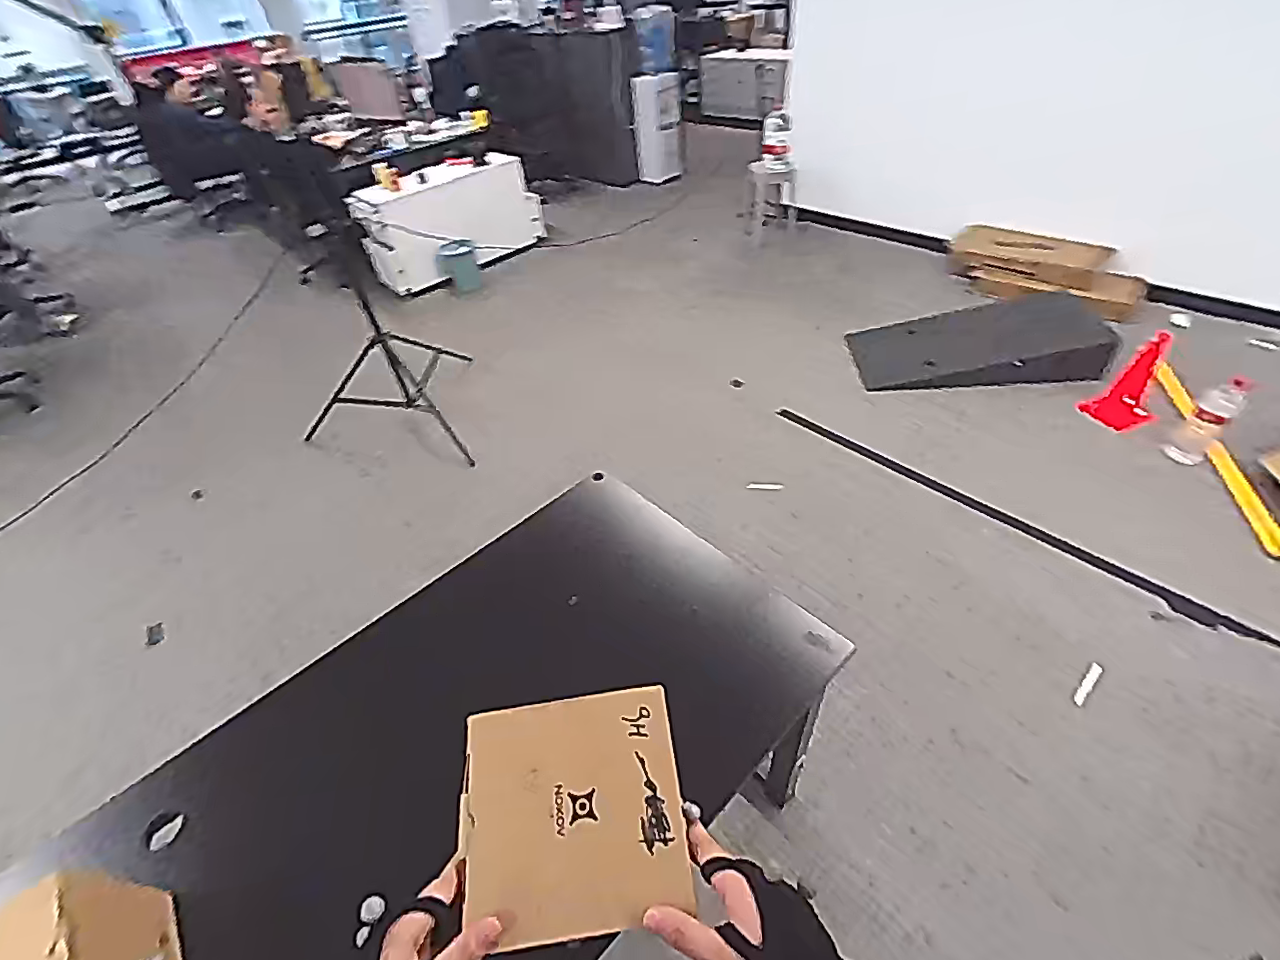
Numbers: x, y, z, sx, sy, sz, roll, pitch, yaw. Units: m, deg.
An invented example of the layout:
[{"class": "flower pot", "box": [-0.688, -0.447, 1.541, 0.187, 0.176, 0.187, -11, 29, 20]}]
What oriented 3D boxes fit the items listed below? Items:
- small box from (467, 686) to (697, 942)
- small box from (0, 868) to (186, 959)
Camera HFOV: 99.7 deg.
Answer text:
[{"class": "small box", "box": [-0.045, 0.309, 0.509, 0.179, 0.176, 0.168, -9, 57, 0]}, {"class": "small box", "box": [-0.598, 0.542, 0.534, 0.179, 0.176, 0.168, -34, 50, -26]}]
